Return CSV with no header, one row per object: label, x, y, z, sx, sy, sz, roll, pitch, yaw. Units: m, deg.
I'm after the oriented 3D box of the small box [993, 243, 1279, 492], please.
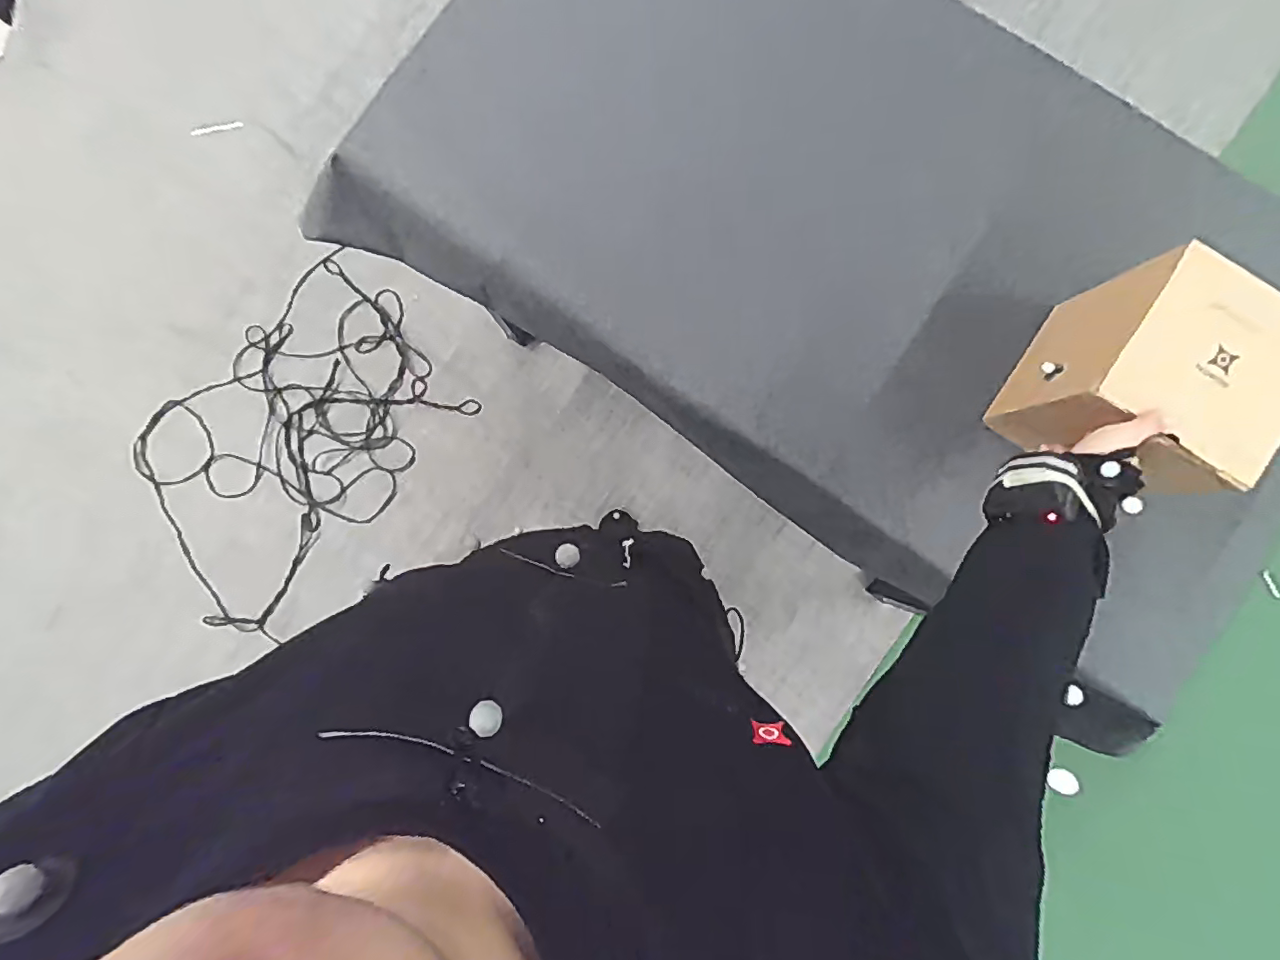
small box,0.521,-0.099,0.570,0.168,0.176,0.179,34,86,1
